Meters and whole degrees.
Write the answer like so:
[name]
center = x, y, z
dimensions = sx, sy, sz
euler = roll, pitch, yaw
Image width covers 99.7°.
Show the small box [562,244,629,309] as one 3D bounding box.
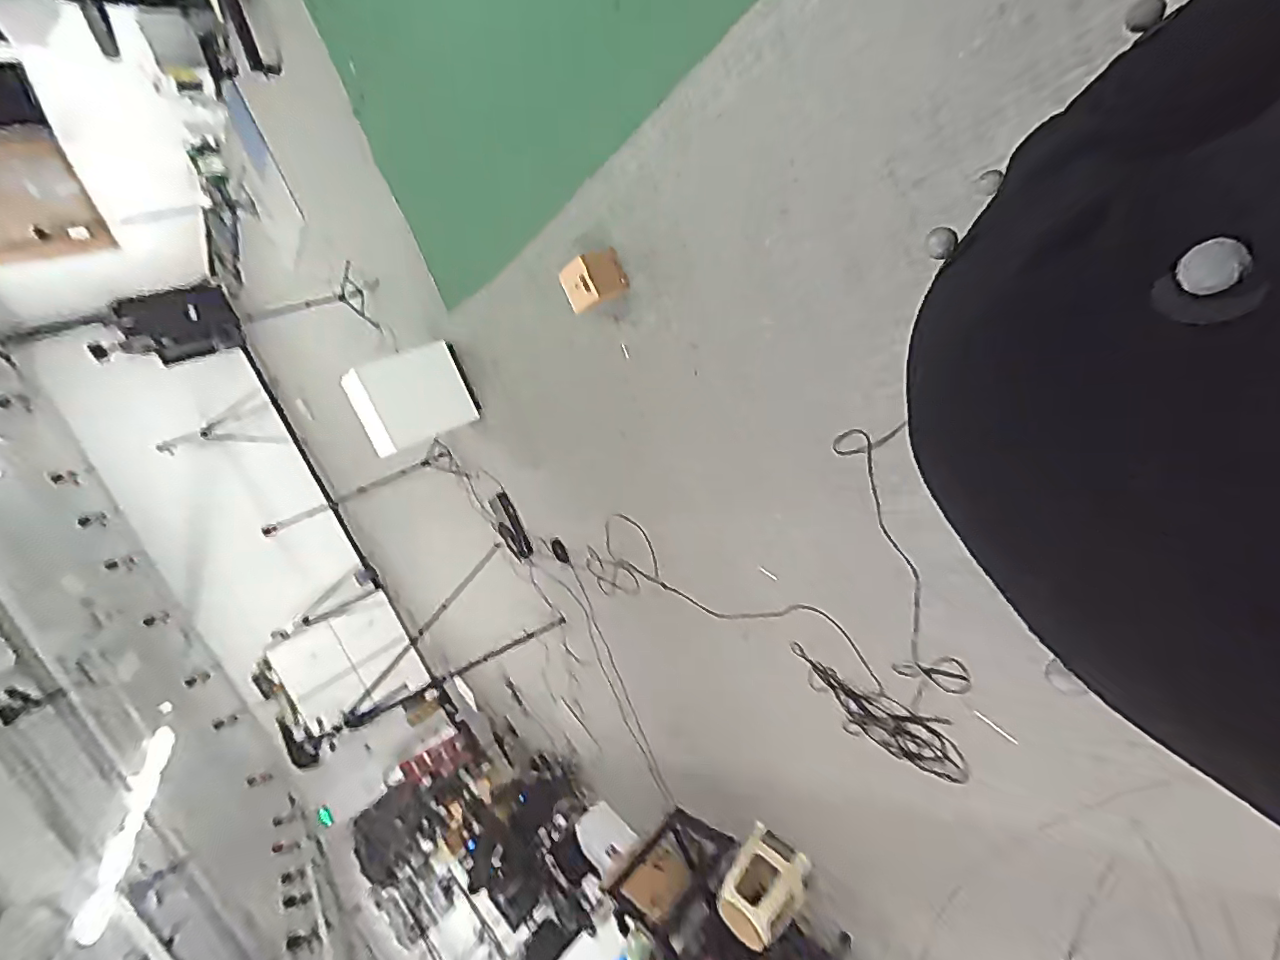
[small box]
center = -0.163, -0.788, 2.088
dimensions = 0.179, 0.176, 0.168
euler = -11, 106, 54
